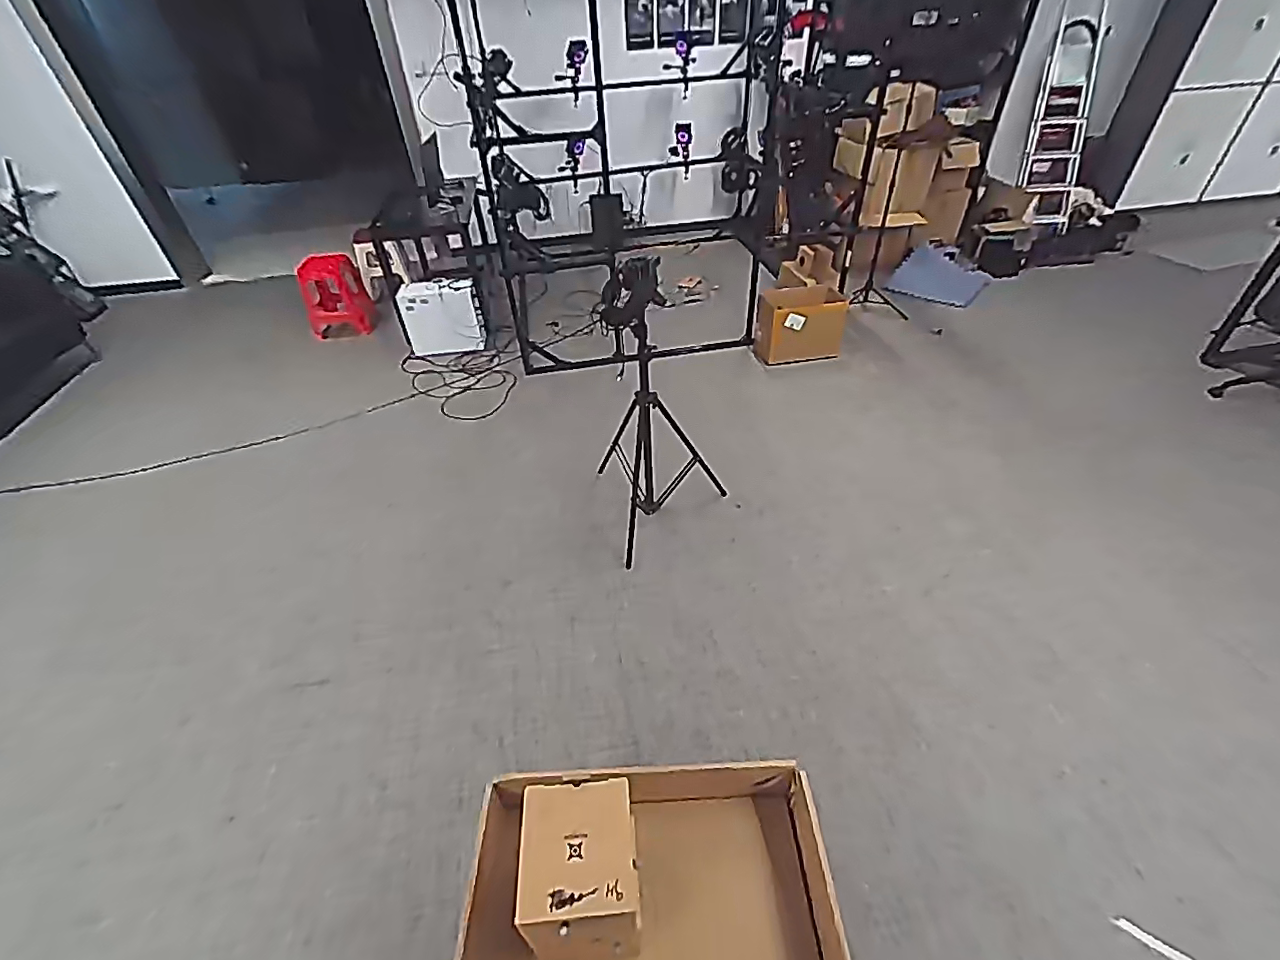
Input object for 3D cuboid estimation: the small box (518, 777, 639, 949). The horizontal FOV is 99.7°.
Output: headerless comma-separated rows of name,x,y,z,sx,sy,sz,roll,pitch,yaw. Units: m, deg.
small box,-0.089,0.595,0.844,0.168,0.176,0.179,-4,40,-3
